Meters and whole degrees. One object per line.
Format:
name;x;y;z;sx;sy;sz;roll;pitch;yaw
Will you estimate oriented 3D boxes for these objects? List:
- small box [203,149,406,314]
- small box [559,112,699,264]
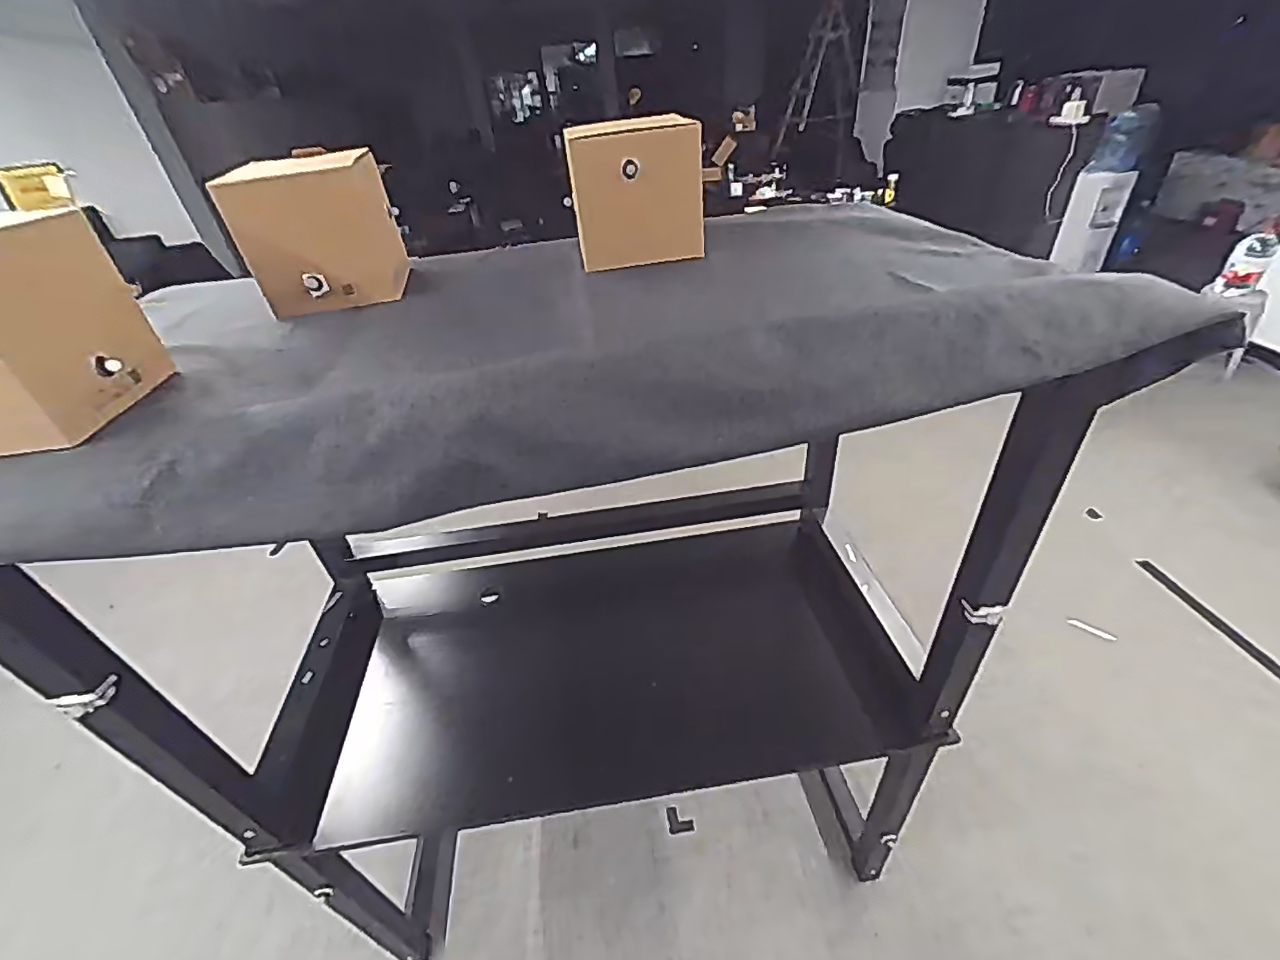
small box;-0.440;-0.345;0.748;0.168;0.176;0.179;-14;37;-8
small box;-0.016;-0.426;0.789;0.179;0.176;0.168;-9;37;-3
